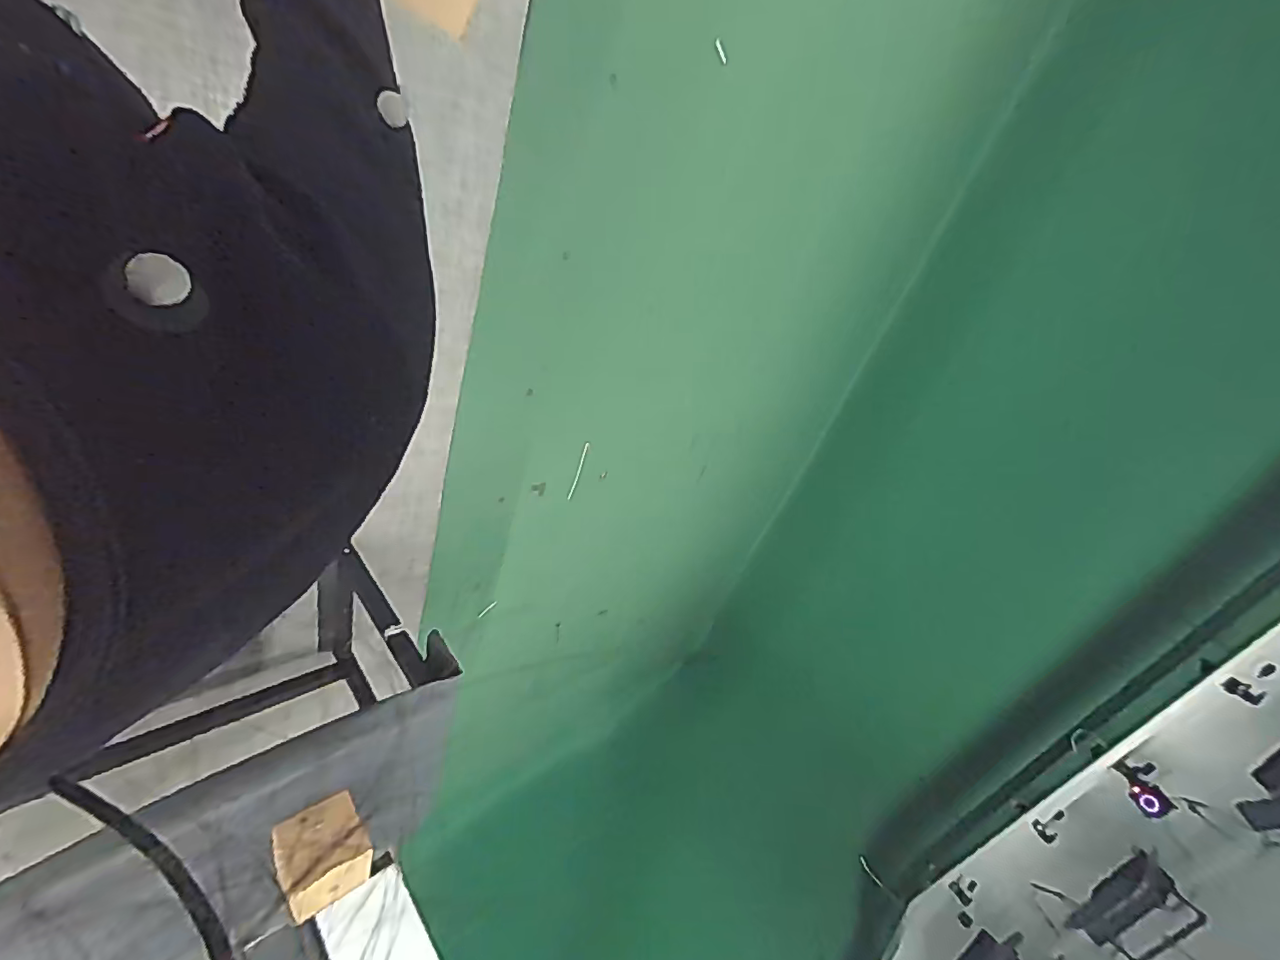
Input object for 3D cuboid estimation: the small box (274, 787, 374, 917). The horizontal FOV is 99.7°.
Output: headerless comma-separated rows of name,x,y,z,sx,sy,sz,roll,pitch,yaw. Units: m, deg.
small box,-0.772,0.896,1.317,0.168,0.176,0.179,-14,135,-45
